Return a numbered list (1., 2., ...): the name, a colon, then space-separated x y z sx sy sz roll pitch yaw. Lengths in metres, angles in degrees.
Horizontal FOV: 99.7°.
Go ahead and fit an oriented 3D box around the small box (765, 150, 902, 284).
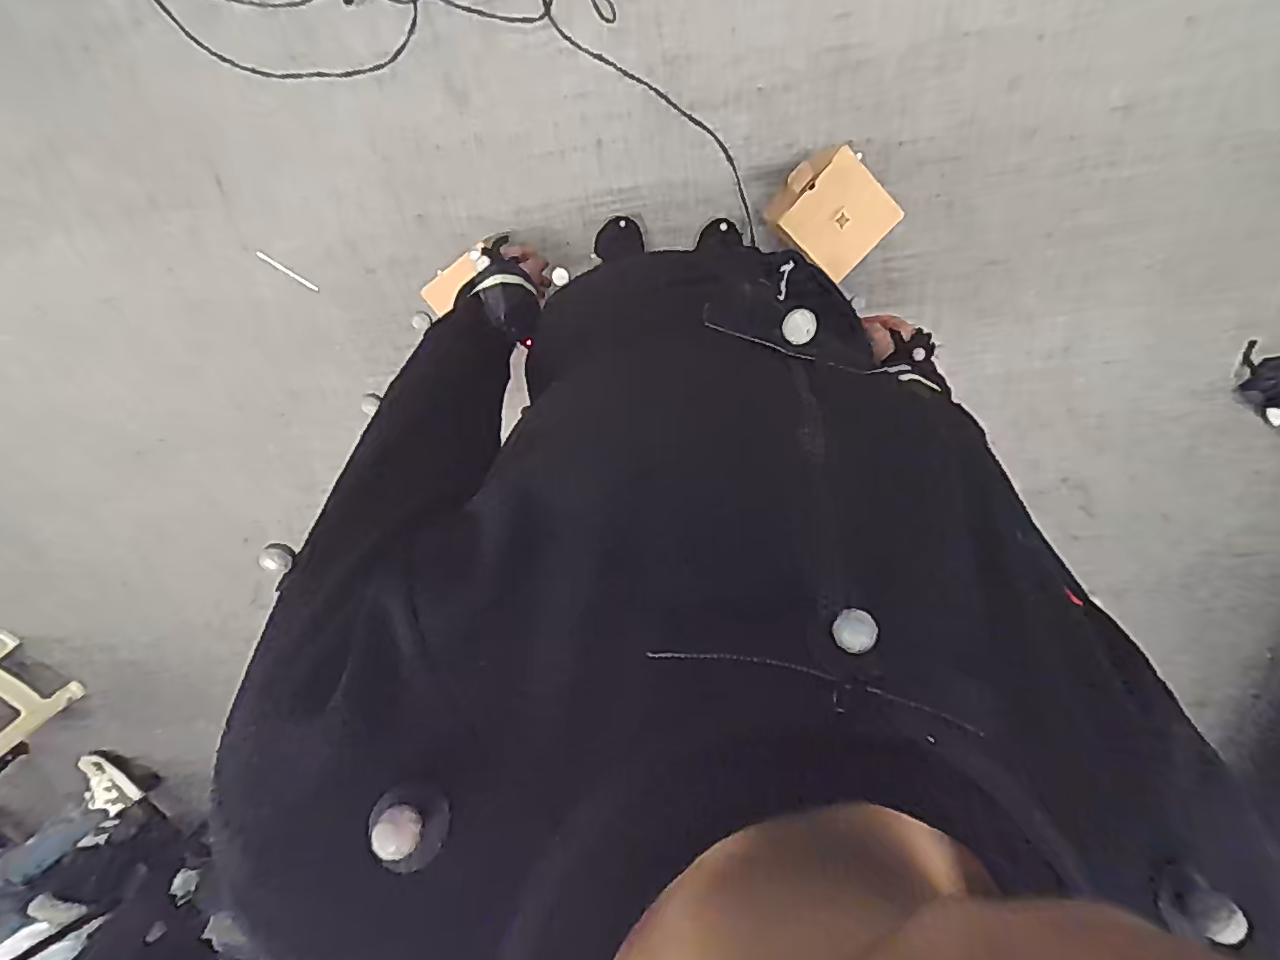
1. small box: 0.377 -0.528 1.082 0.179 0.176 0.168 37 114 -18
